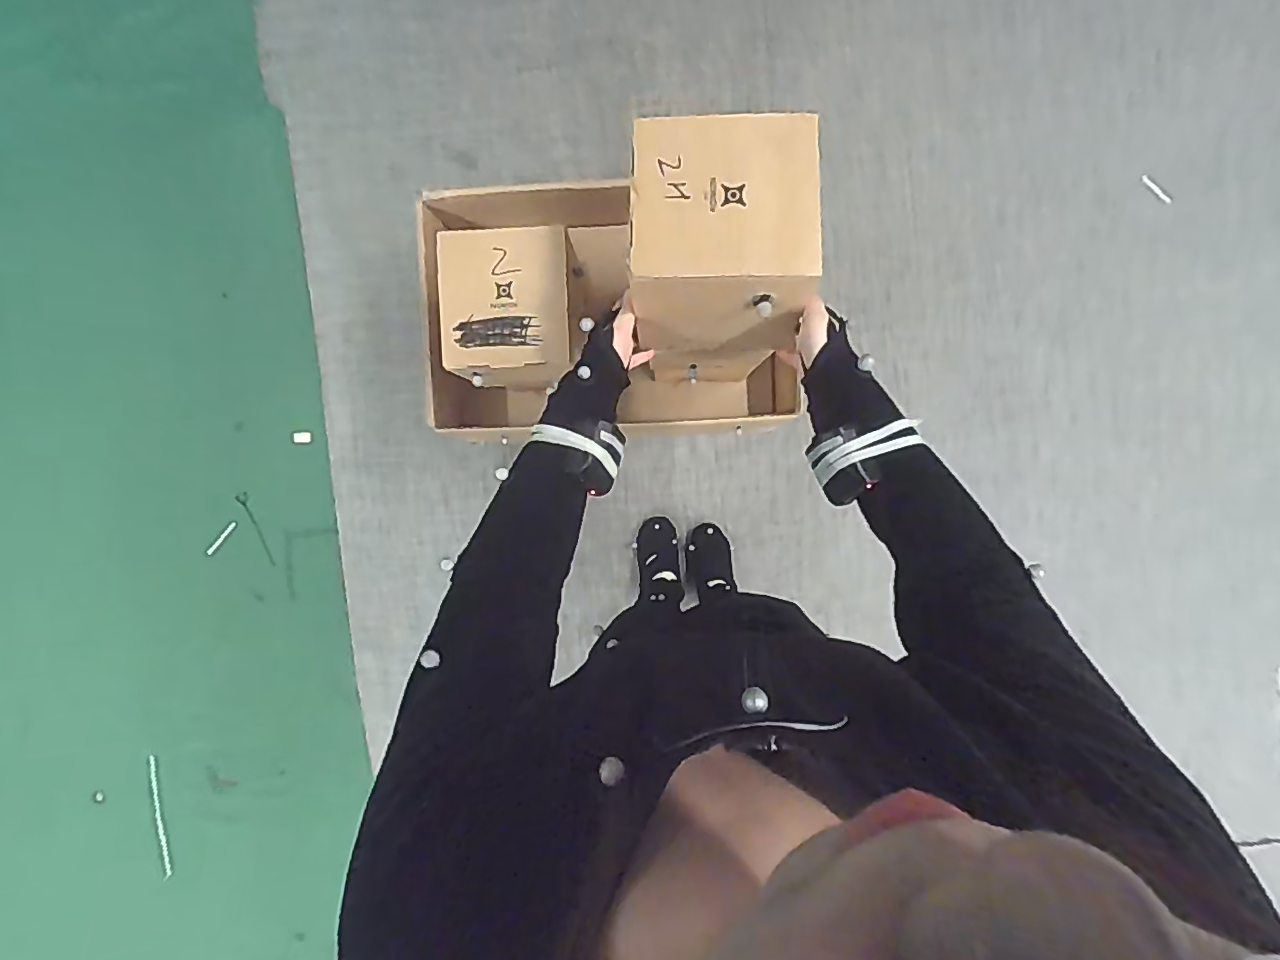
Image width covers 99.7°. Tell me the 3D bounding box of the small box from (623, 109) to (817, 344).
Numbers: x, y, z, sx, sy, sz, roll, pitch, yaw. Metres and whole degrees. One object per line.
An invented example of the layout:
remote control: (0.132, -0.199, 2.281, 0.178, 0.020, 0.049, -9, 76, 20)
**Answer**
small box: (0.079, -0.255, 0.577, 0.179, 0.176, 0.168, 1, 81, 5)

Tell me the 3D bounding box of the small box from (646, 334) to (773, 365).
small box: (0.090, -0.262, 0.755, 0.168, 0.176, 0.179, 0, 94, 4)
